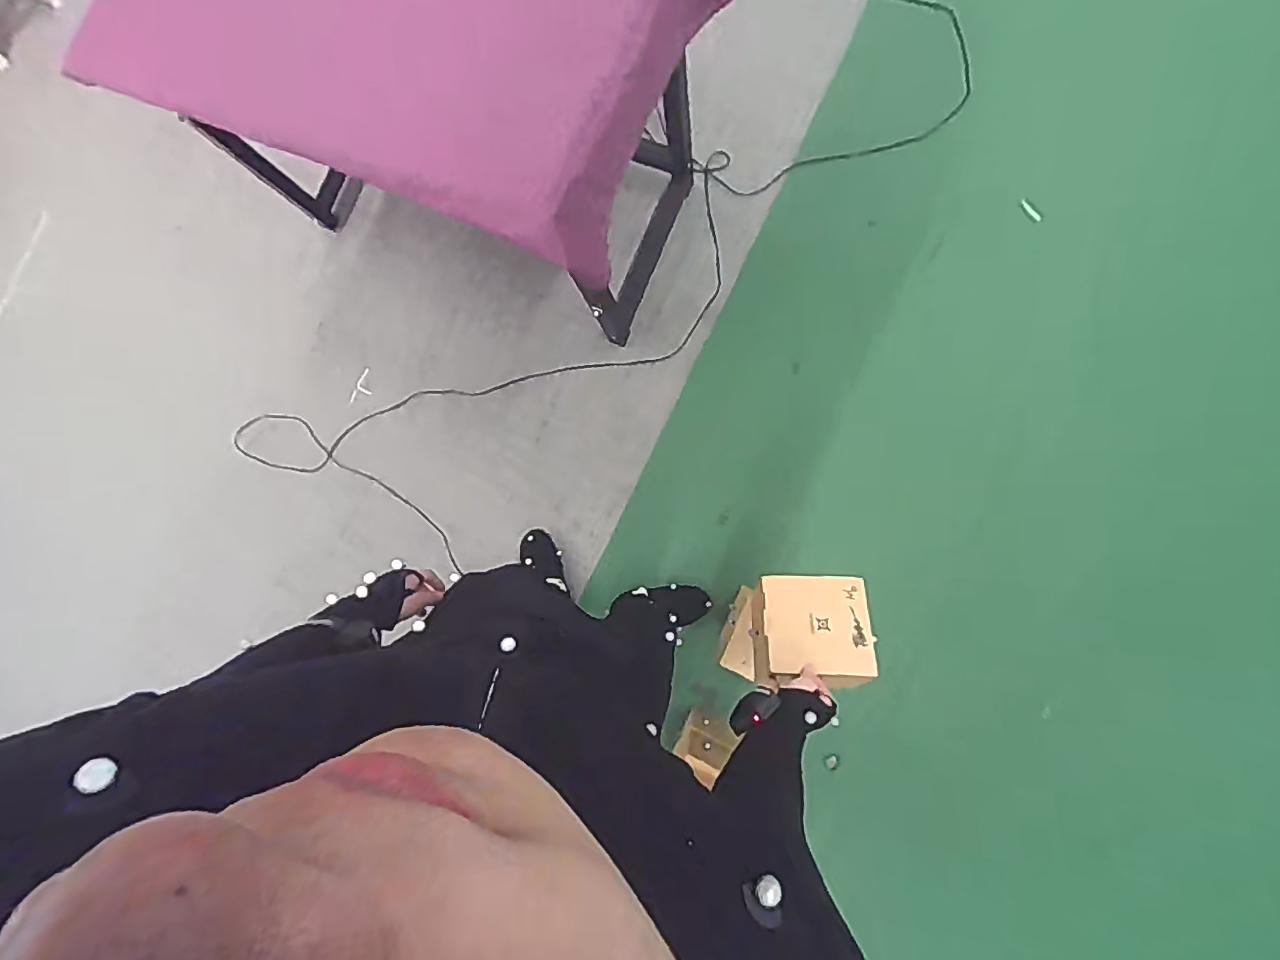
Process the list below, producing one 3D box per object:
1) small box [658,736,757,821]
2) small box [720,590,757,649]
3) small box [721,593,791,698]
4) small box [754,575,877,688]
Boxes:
[{"bbox_3d":[0.162,0.737,1.281,0.179,0.176,0.168,24,89,11],"label":"small box"},{"bbox_3d":[0.325,0.407,1.459,0.179,0.176,0.168,24,88,9],"label":"small box"},{"bbox_3d":[0.299,0.385,1.297,0.168,0.176,0.179,24,88,10],"label":"small box"},{"bbox_3d":[0.298,0.274,0.965,0.179,0.176,0.168,0,63,5],"label":"small box"}]
